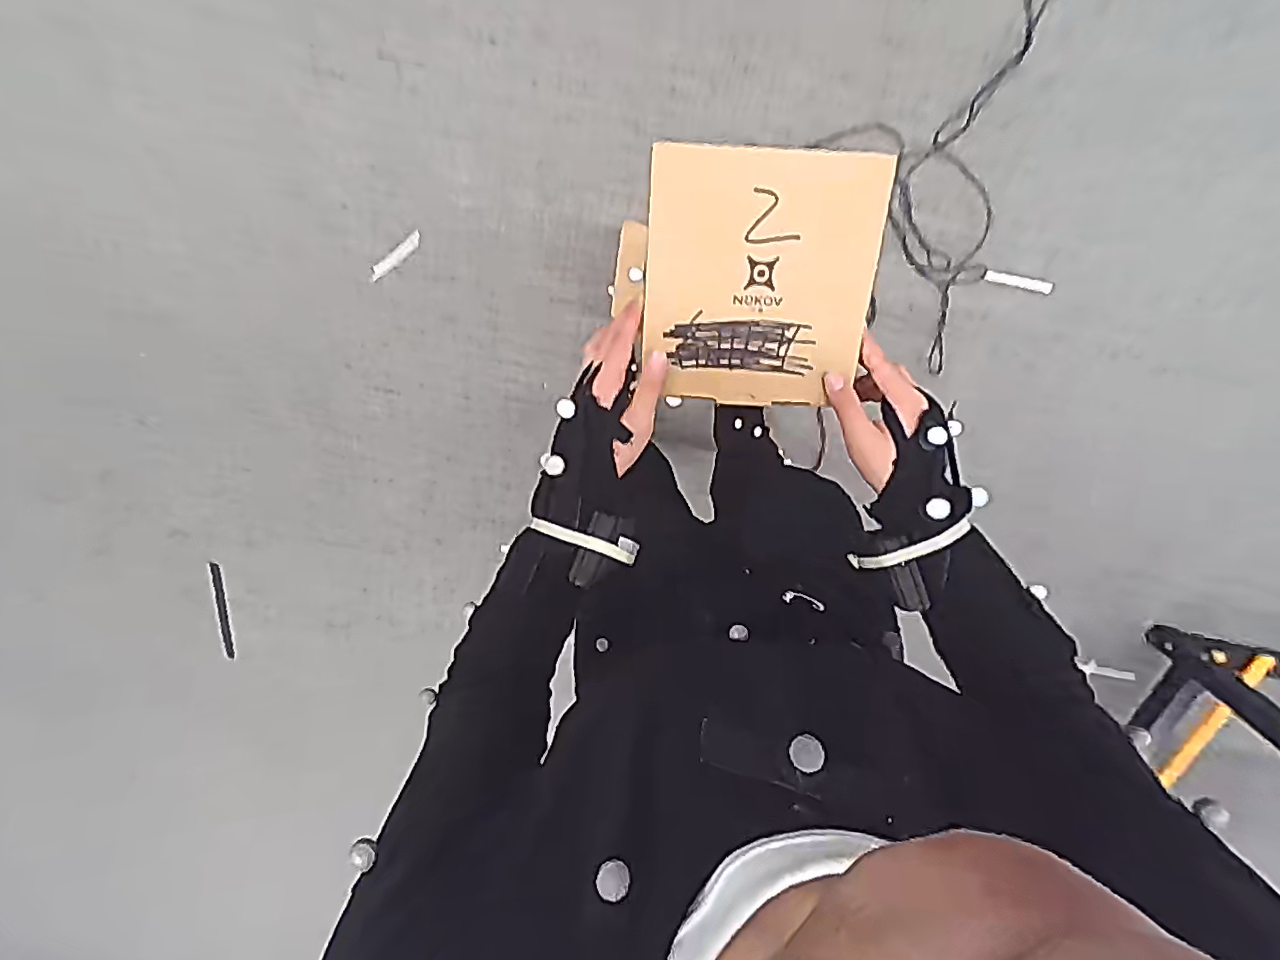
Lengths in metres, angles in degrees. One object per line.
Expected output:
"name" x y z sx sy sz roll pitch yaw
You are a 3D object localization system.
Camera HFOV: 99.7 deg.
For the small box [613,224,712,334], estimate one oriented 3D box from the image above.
"small box" 0.050 -0.408 1.095 0.168 0.176 0.179 11 113 2
